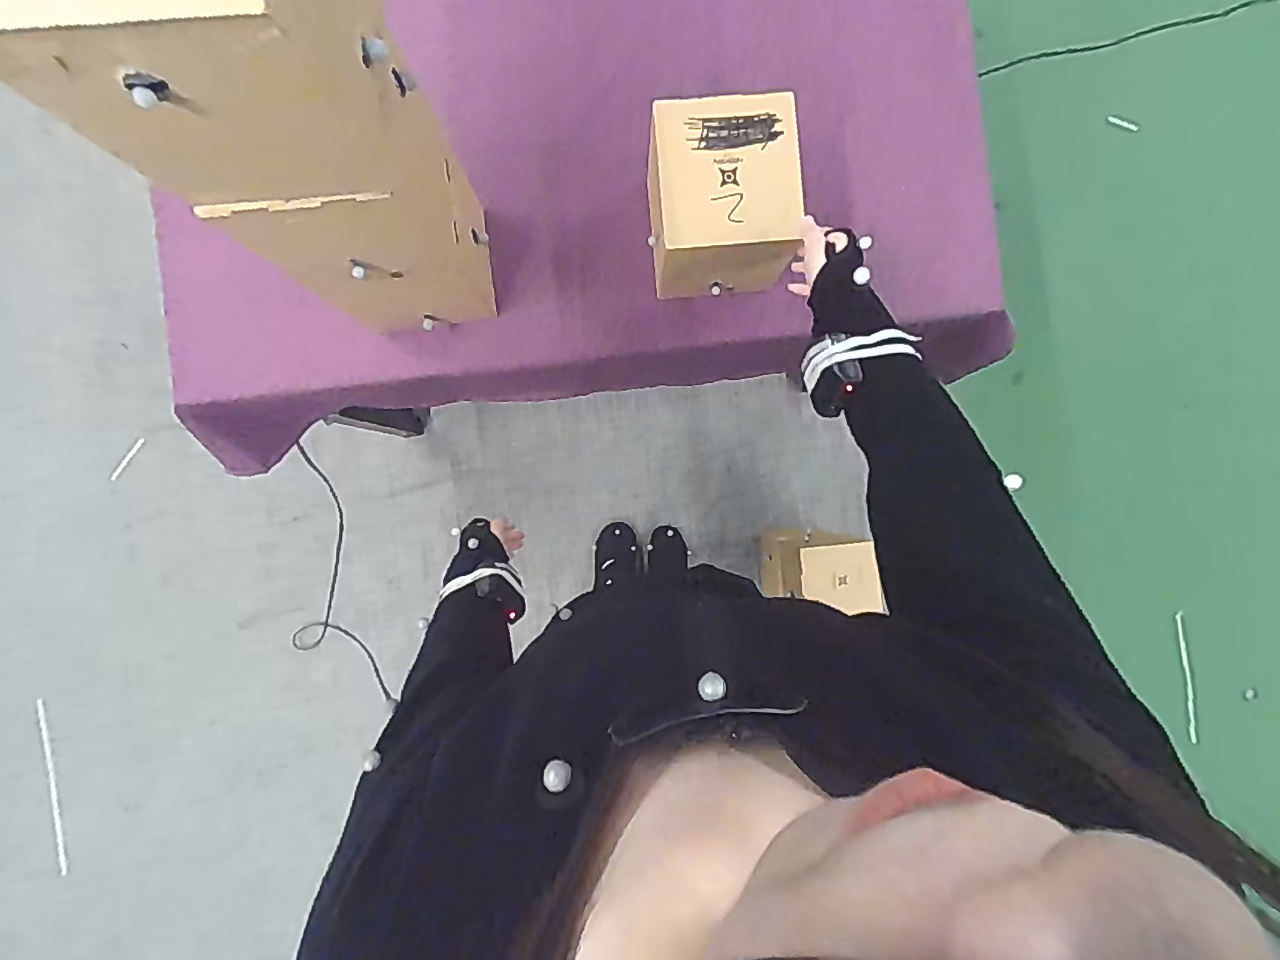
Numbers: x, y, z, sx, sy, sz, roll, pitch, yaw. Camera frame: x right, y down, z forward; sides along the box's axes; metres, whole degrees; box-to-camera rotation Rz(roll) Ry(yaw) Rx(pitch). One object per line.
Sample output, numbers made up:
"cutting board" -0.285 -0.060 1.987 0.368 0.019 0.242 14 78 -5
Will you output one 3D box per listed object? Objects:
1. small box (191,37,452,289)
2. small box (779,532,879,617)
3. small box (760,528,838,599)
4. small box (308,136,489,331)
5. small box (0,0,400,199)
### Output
"small box" -0.298 -0.310 0.531 0.168 0.176 0.179 -6 89 -1
"small box" 0.436 0.217 1.277 0.179 0.176 0.168 -5 91 -2
"small box" 0.423 0.217 1.439 0.179 0.176 0.168 -3 90 -2
"small box" -0.302 -0.303 0.696 0.179 0.176 0.168 -8 89 -2
"small box" -0.289 -0.314 0.367 0.179 0.176 0.168 -5 89 -2
